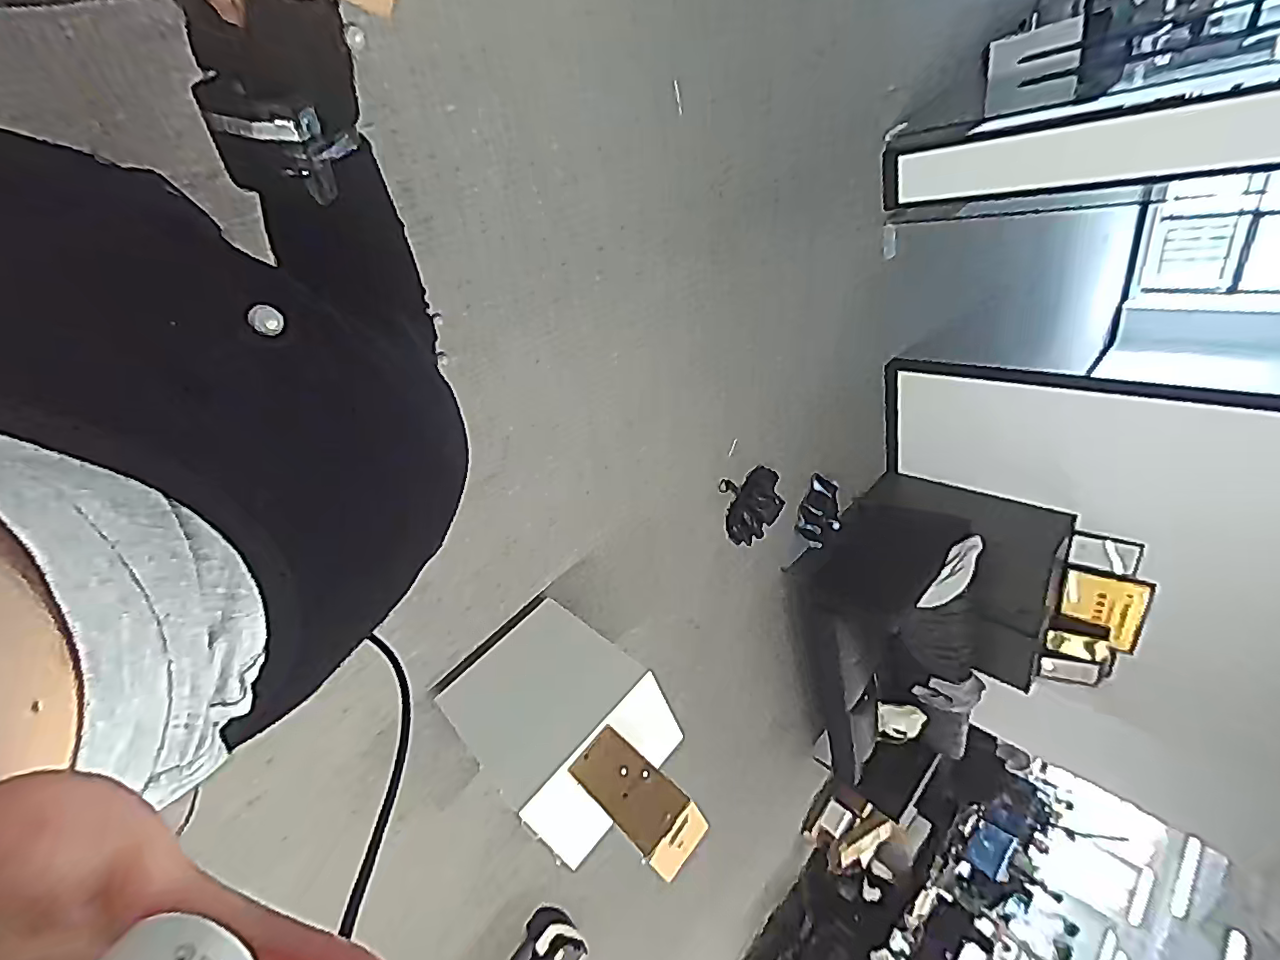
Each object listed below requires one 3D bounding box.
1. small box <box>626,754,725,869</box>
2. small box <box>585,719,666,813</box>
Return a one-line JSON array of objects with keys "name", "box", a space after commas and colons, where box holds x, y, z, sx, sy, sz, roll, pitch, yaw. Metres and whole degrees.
[{"name": "small box", "box": [0.091, 0.851, 1.403, 0.168, 0.176, 0.179, -44, 131, -24]}, {"name": "small box", "box": [-0.021, 0.809, 1.517, 0.168, 0.176, 0.179, -45, 132, -24]}]
